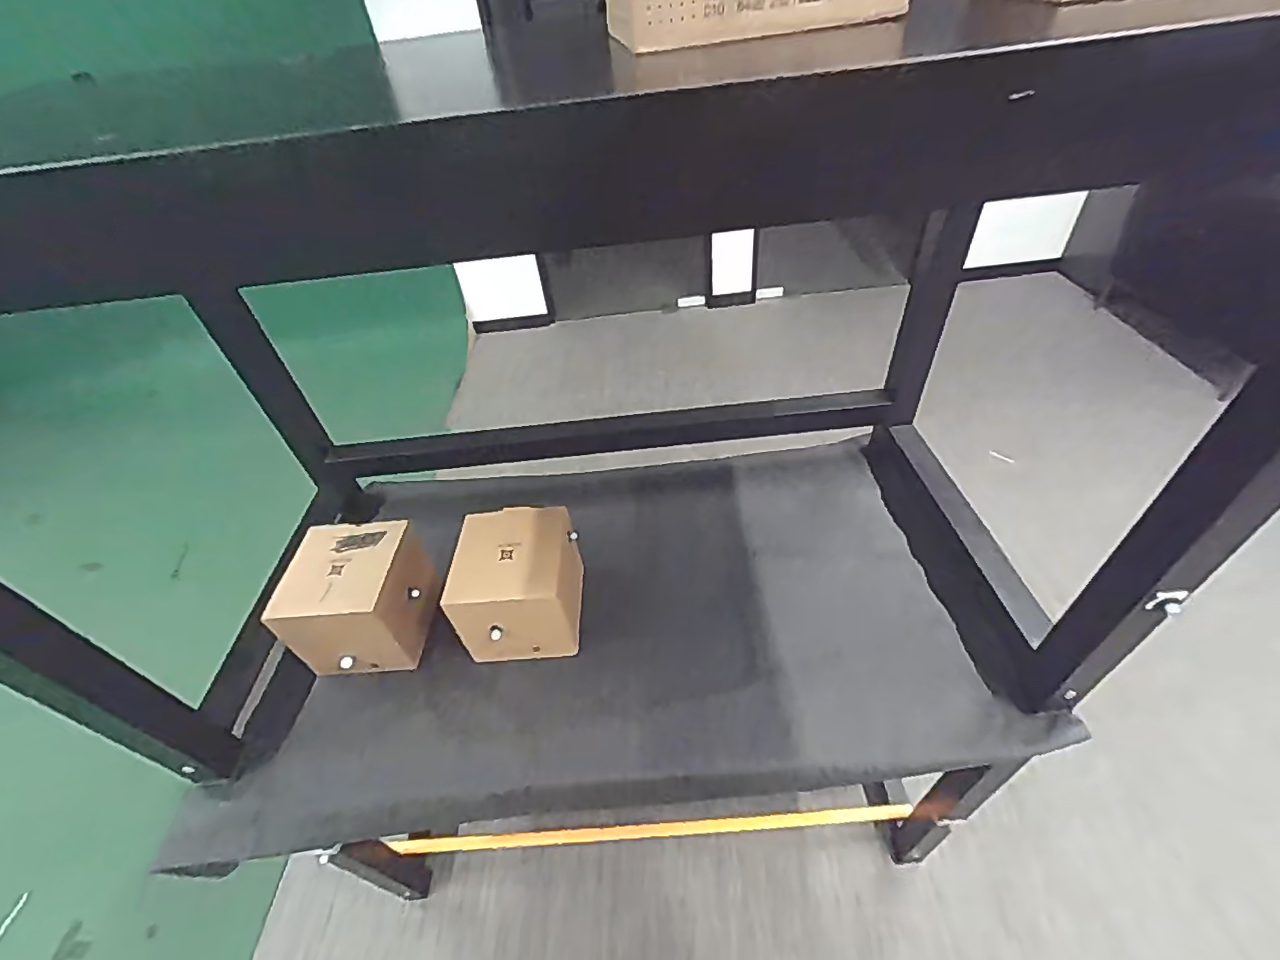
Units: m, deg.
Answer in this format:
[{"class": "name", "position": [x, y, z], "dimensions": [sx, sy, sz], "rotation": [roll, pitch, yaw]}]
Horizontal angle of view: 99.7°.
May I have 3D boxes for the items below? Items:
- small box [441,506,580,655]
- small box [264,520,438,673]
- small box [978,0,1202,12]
[{"class": "small box", "position": [-0.192, 0.165, 0.862], "dimensions": [0.168, 0.176, 0.179], "rotation": [-5, 43, 2]}, {"class": "small box", "position": [-0.444, 0.187, 0.869], "dimensions": [0.168, 0.176, 0.179], "rotation": [-5, 44, 3]}, {"class": "small box", "position": [0.306, -0.366, 0.285], "dimensions": [0.168, 0.176, 0.179], "rotation": [2, 44, 10]}]
